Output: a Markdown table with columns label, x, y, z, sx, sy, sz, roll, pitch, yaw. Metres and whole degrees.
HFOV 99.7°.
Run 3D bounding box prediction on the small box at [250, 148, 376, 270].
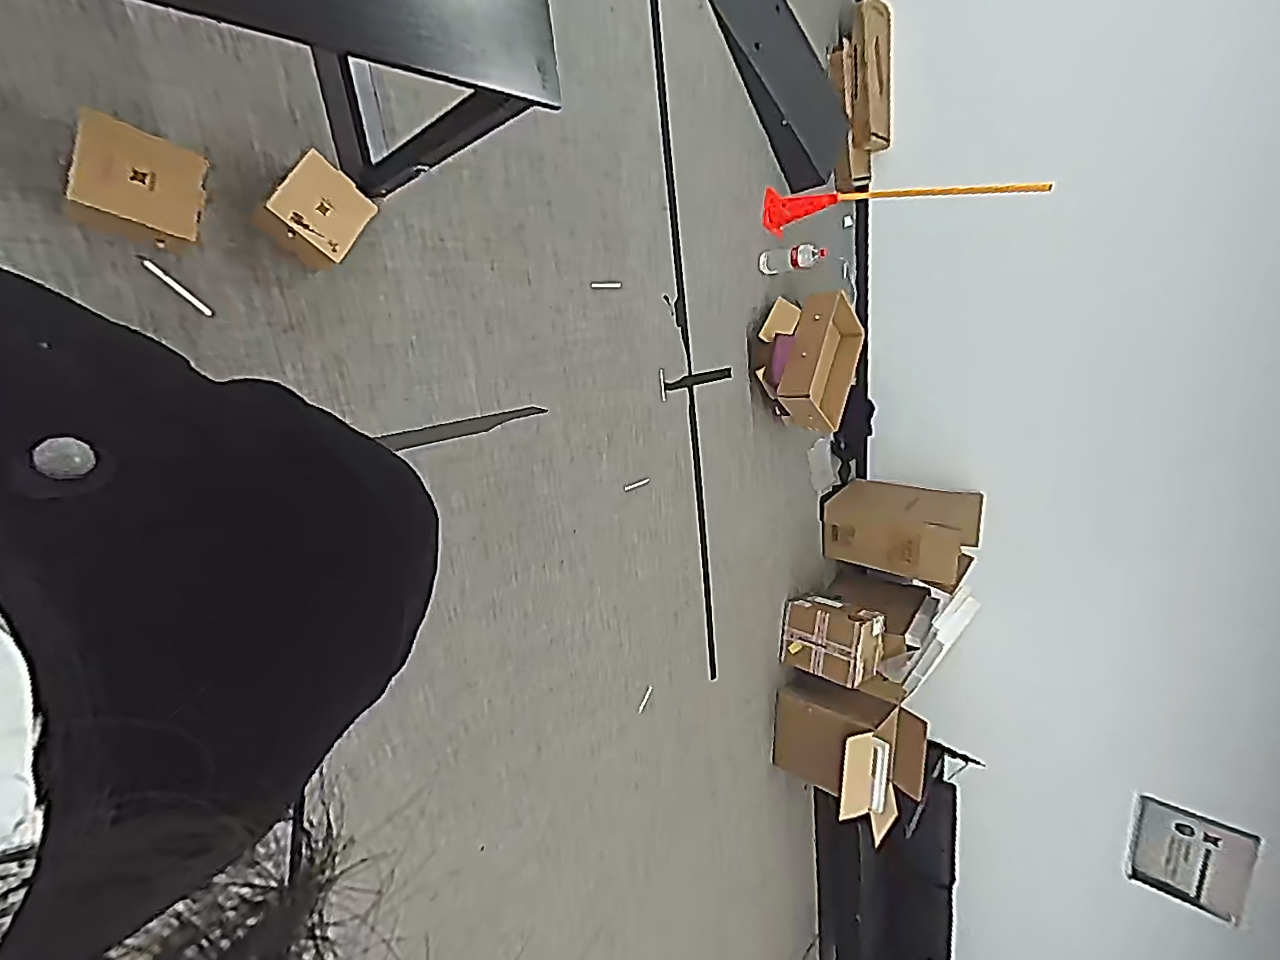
| label | x | y | z | sx | sy | sz | roll | pitch | yaw |
| --- | --- | --- | --- | --- | --- | --- | --- | --- | --- |
| small box | -0.756 | -0.614 | 1.245 | 0.168 | 0.176 | 0.179 | 40 | 68 | -43 |

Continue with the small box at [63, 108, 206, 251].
| label | x | y | z | sx | sy | sz | roll | pitch | yaw |
| --- | --- | --- | --- | --- | --- | --- | --- | --- | --- |
| small box | -0.964 | -0.555 | 1.032 | 0.179 | 0.176 | 0.168 | 8 | 90 | -47 |
